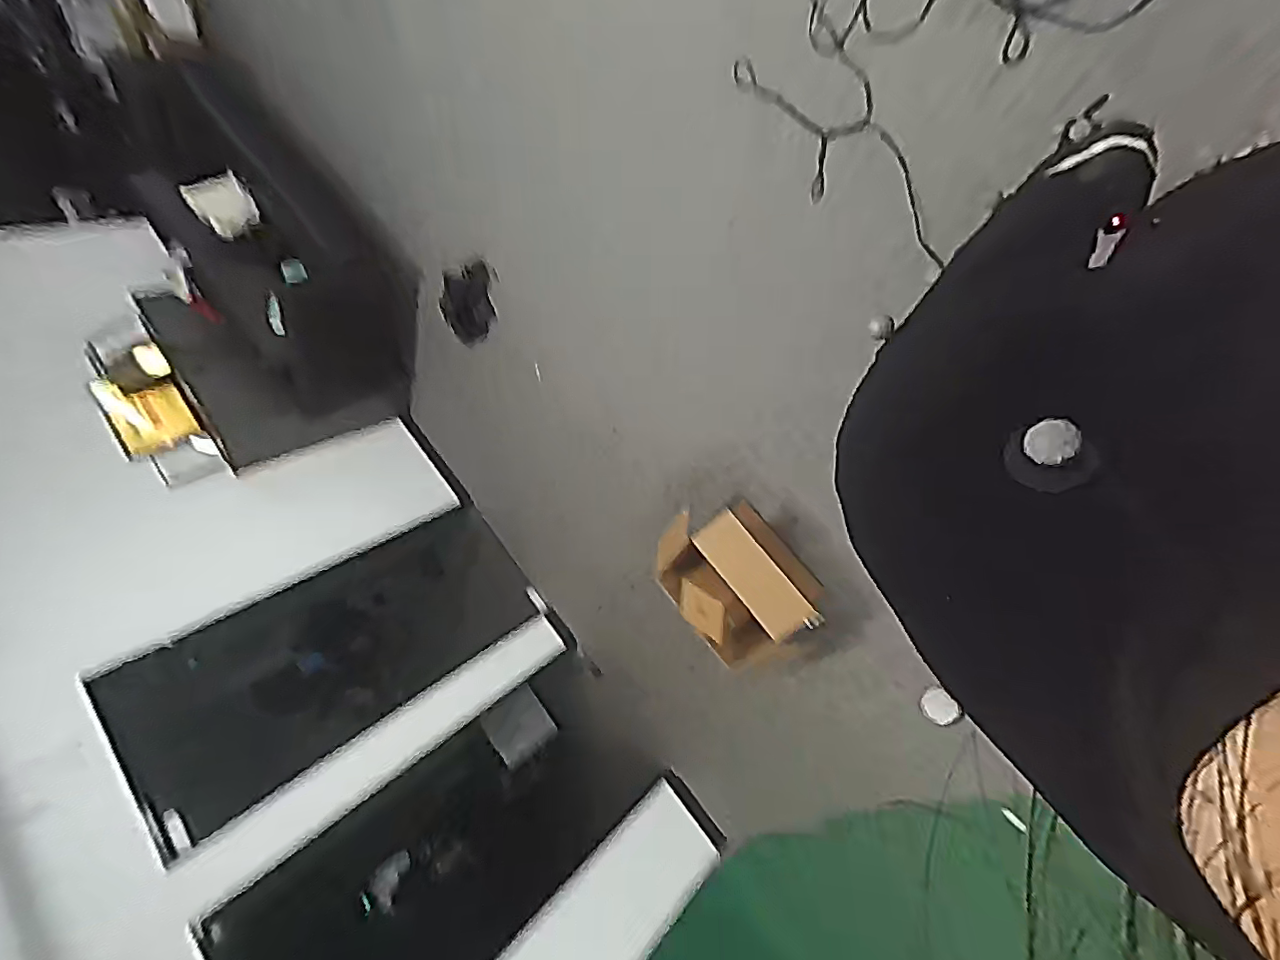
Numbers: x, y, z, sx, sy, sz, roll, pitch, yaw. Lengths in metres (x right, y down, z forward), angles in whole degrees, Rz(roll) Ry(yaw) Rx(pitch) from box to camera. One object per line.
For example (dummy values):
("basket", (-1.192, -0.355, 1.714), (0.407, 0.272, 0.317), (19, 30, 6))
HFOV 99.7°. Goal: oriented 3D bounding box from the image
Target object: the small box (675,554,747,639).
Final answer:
("small box", (0.236, 0.381, 1.789), (0.168, 0.176, 0.179), (29, 133, 34))
